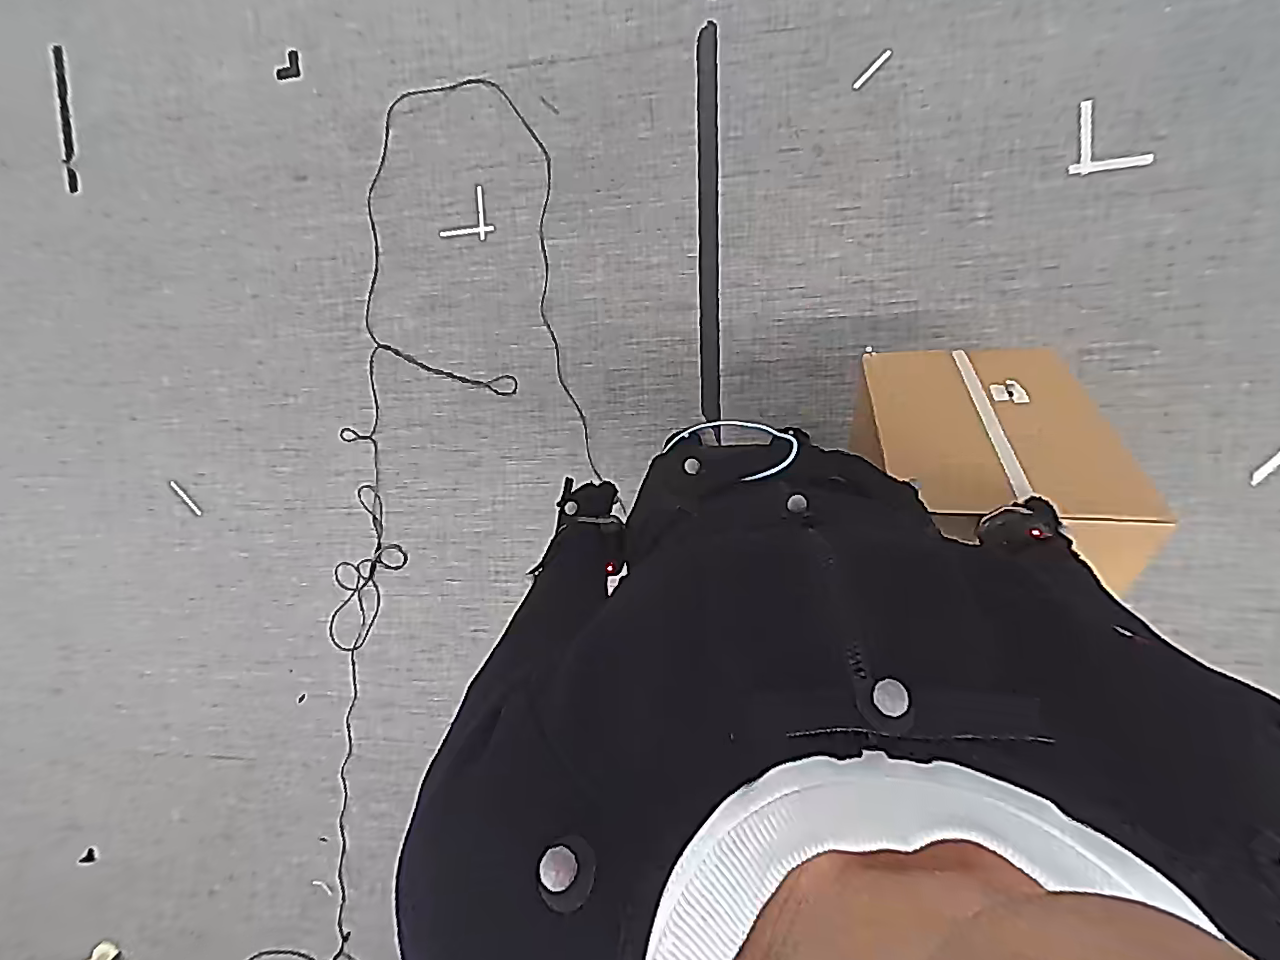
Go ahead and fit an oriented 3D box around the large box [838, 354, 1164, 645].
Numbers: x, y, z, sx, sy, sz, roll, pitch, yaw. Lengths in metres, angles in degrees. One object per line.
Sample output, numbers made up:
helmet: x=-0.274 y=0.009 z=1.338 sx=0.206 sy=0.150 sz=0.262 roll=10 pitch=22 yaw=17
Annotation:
large box: x=0.538 y=0.023 z=0.926 sx=0.320 sy=0.408 sz=0.320 roll=2 pitch=132 yaw=10
